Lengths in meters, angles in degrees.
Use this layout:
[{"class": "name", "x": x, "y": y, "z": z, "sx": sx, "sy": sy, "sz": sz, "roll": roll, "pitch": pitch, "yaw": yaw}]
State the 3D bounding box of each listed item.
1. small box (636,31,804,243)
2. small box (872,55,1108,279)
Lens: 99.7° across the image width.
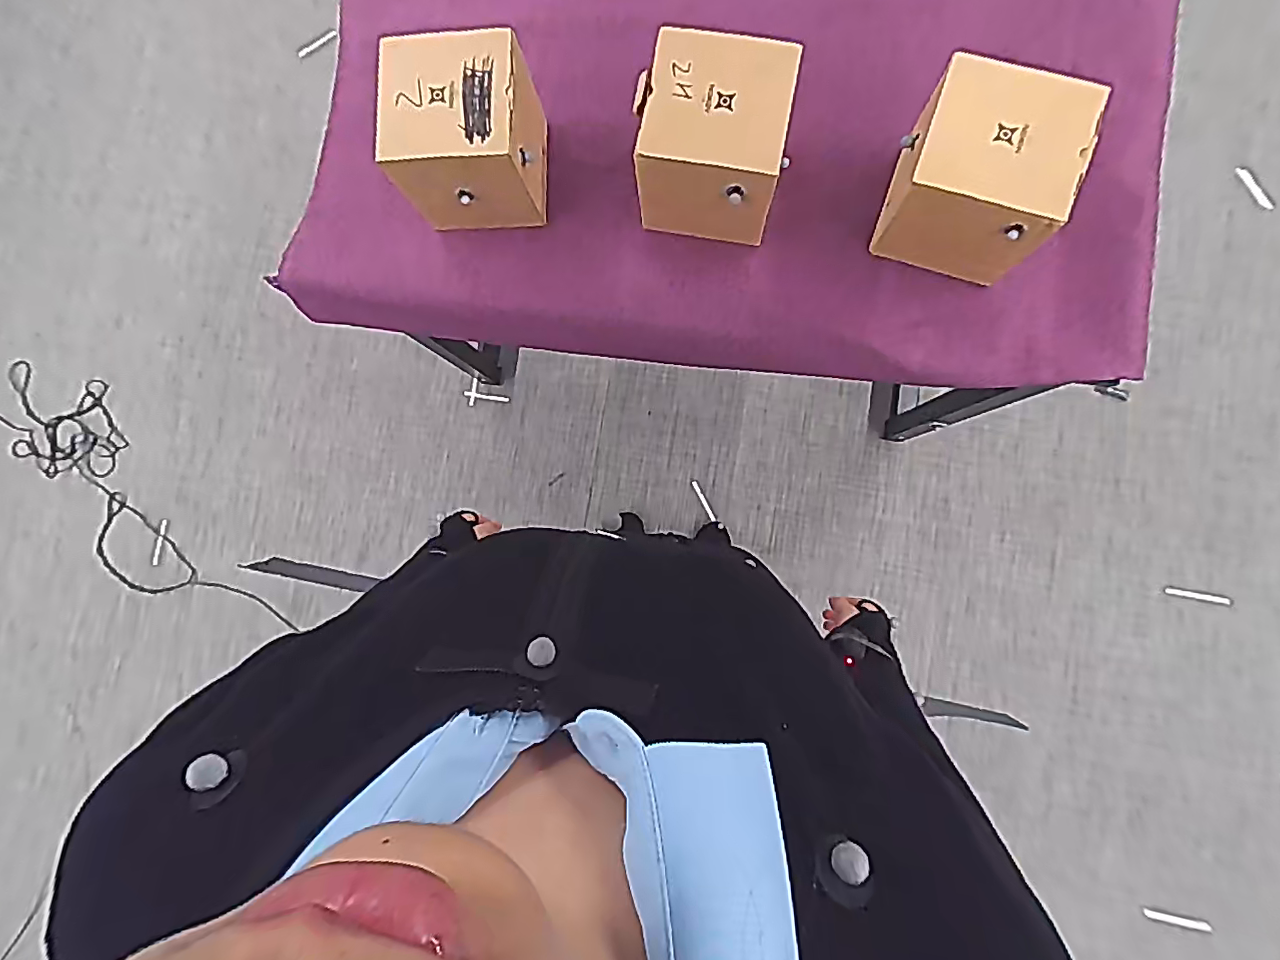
[{"class": "small box", "x": 0.101, "y": -0.442, "z": 0.722, "sx": 0.179, "sy": 0.176, "sz": 0.168, "roll": 11, "pitch": 86, "yaw": 6}, {"class": "small box", "x": 0.424, "y": -0.382, "z": 0.690, "sx": 0.179, "sy": 0.176, "sz": 0.168, "roll": 19, "pitch": 88, "yaw": 6}]
